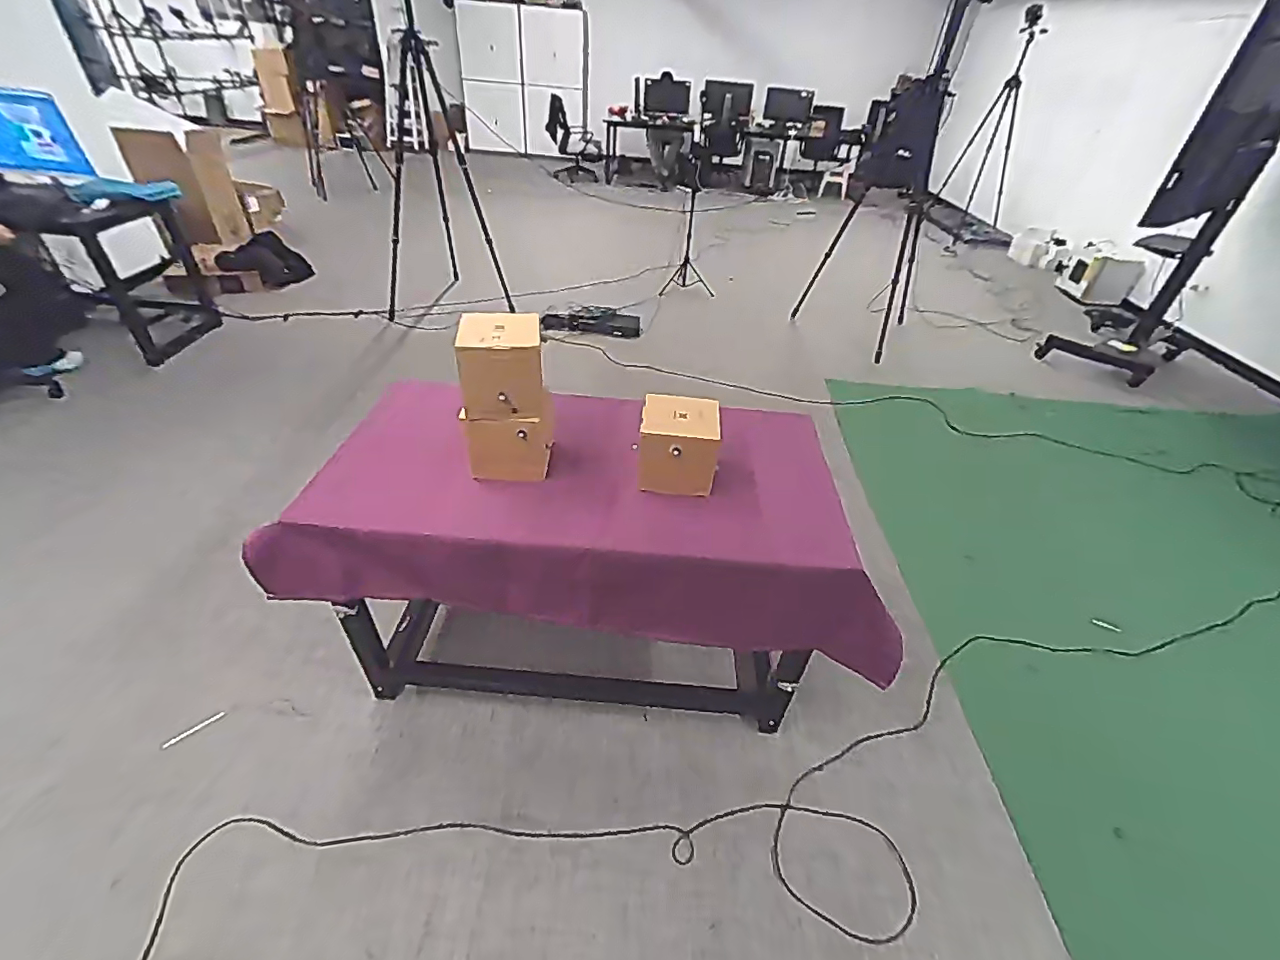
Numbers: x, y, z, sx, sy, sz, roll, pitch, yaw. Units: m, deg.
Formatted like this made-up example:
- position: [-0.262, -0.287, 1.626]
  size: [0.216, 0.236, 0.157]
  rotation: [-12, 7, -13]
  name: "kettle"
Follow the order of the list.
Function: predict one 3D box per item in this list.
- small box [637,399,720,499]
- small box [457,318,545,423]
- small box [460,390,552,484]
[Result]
- position: [0.088, -0.072, 1.270]
  size: [0.179, 0.176, 0.168]
  rotation: [6, 39, 2]
  name: "small box"
- position: [-0.296, -0.240, 1.181]
  size: [0.168, 0.176, 0.179]
  rotation: [-3, 39, -9]
  name: "small box"
- position: [-0.307, -0.104, 1.275]
  size: [0.179, 0.176, 0.168]
  rotation: [3, 38, -4]
  name: "small box"
